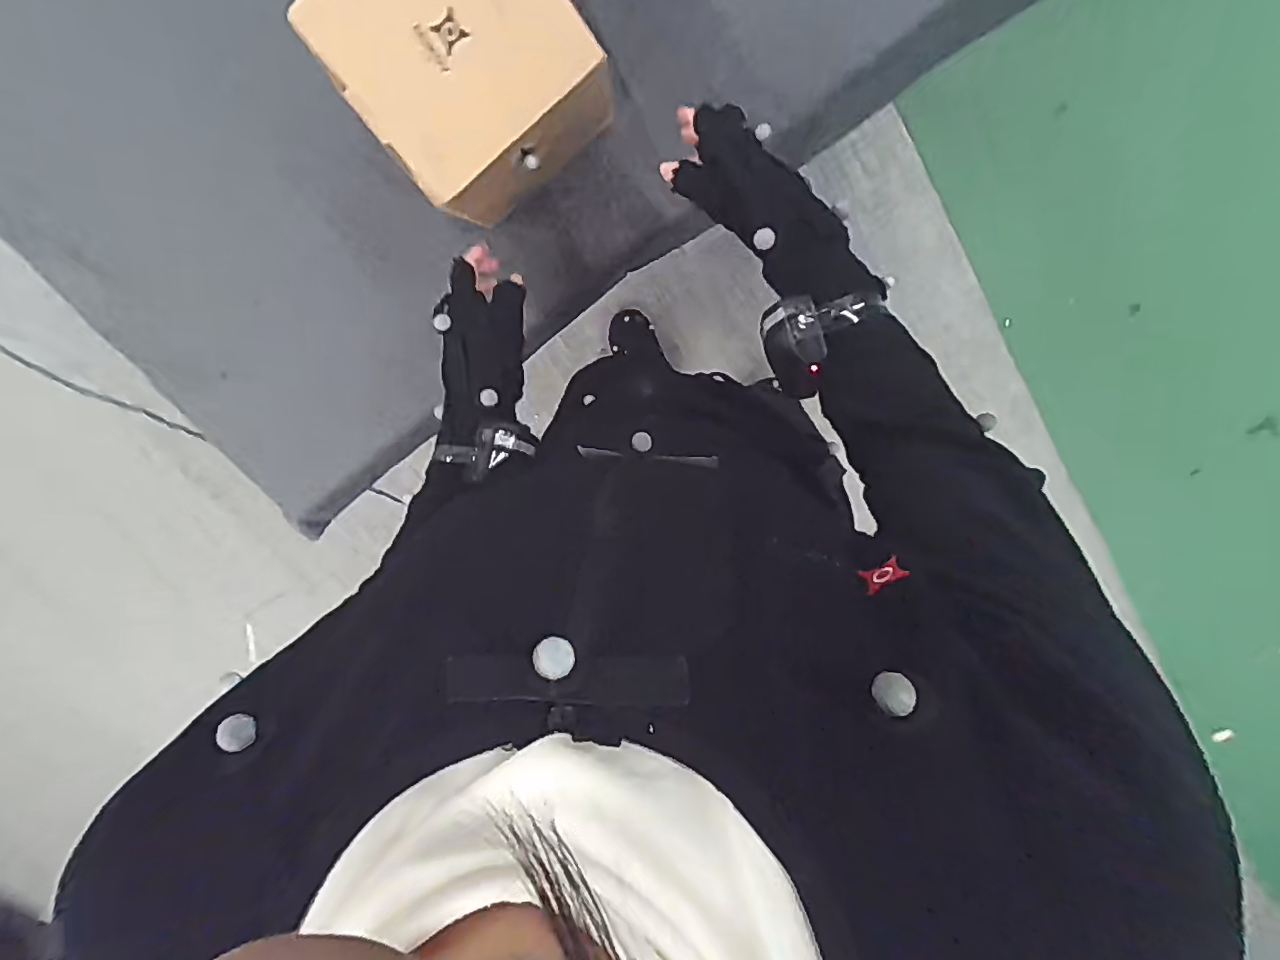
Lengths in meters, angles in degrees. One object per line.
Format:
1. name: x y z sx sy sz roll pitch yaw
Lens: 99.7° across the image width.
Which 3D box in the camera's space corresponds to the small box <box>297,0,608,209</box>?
1. small box: -0.143 -0.373 0.484 0.179 0.176 0.168 -36 107 12
